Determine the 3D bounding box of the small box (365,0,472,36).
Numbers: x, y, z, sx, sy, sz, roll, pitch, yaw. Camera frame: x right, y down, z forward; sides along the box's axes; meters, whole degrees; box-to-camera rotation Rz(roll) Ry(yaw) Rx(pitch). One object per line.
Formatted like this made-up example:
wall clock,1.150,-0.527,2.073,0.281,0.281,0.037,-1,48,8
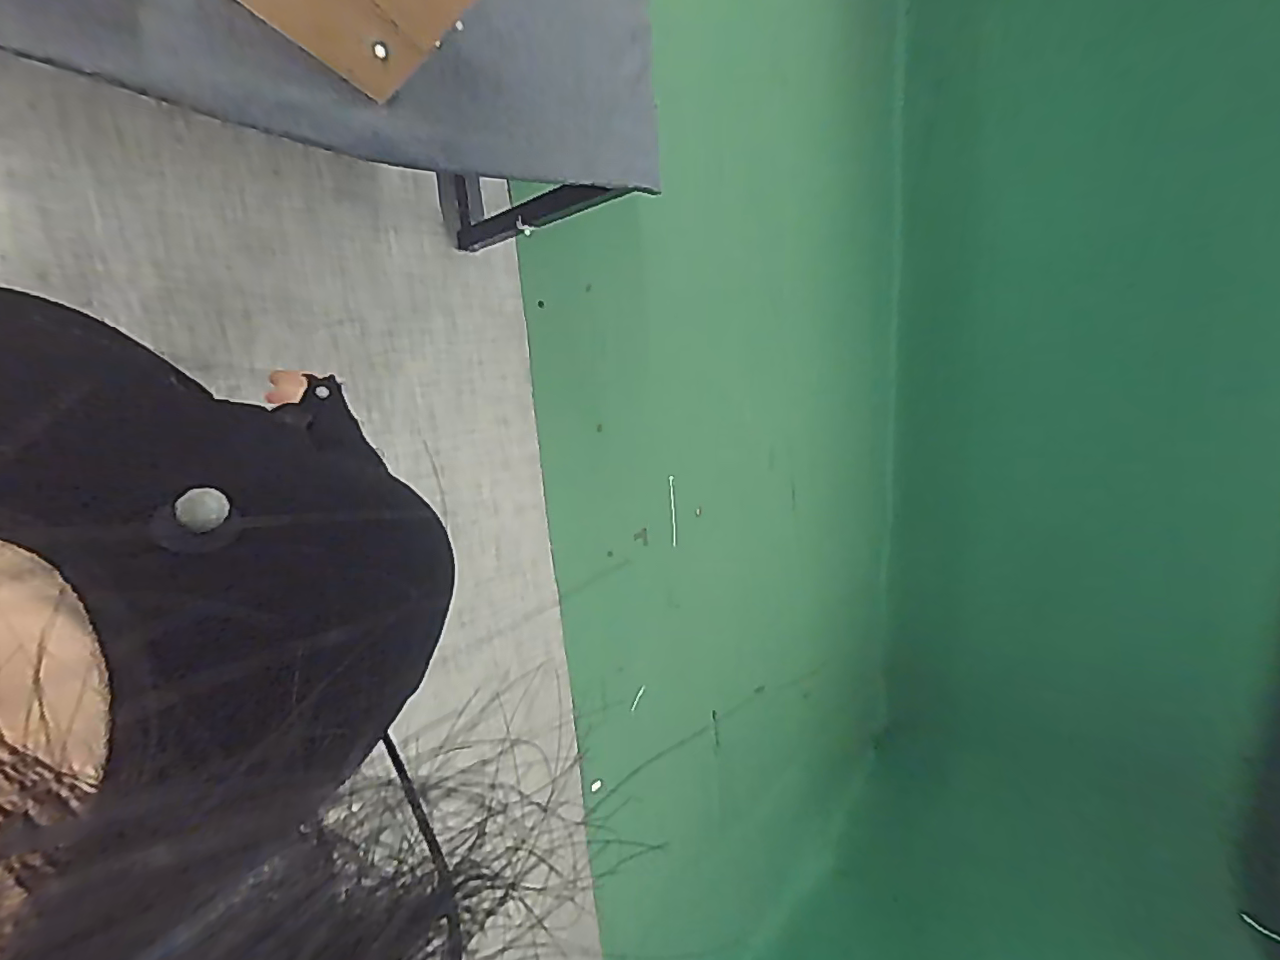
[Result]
small box,-0.210,-0.560,0.493,0.179,0.176,0.168,30,74,-43
